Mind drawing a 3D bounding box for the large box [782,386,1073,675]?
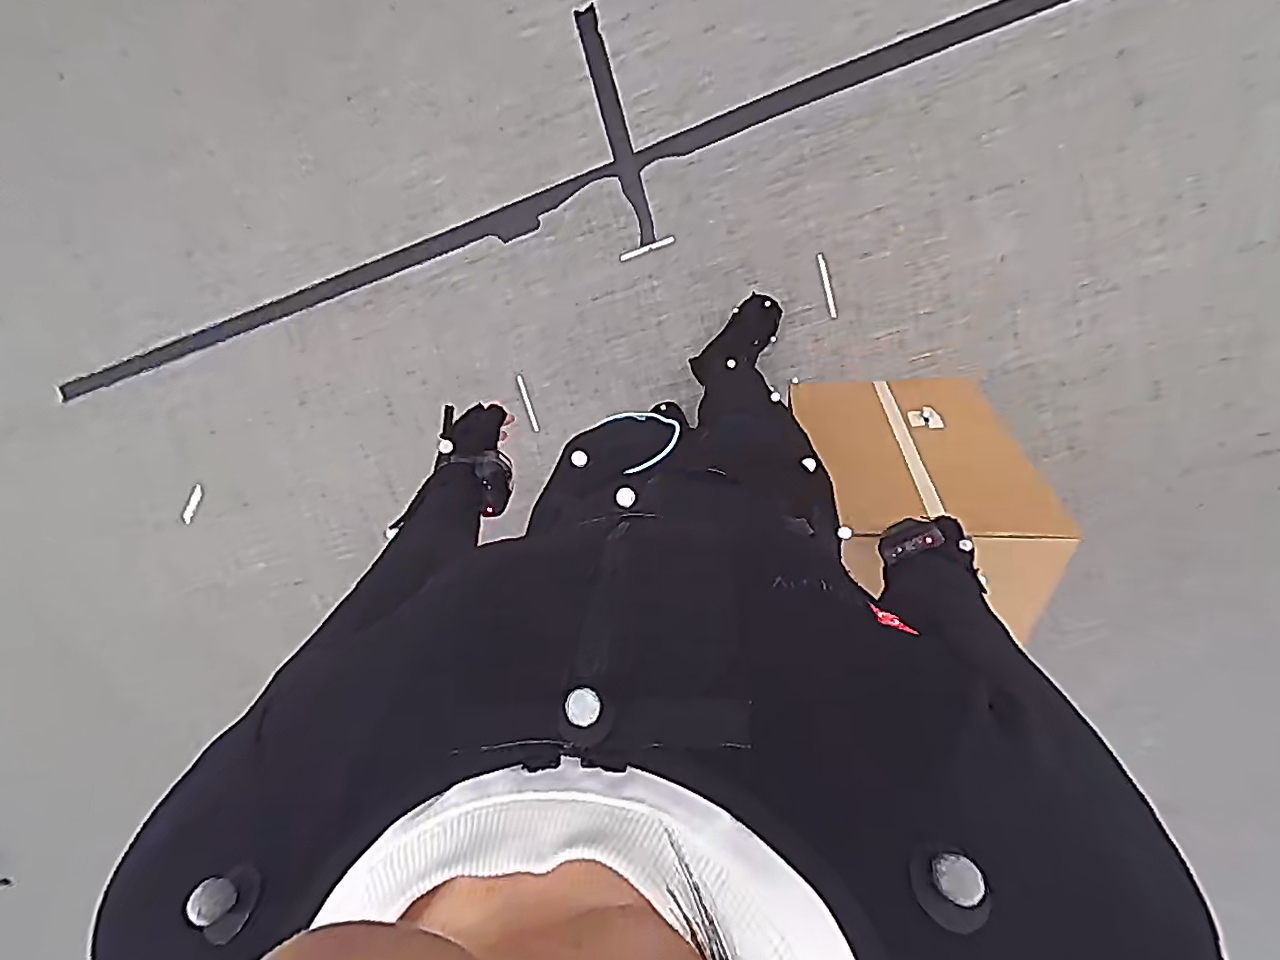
[{"bbox_3d":[0.424,0.073,0.928,0.320,0.408,0.320,0,126,9],"label":"large box"}]
